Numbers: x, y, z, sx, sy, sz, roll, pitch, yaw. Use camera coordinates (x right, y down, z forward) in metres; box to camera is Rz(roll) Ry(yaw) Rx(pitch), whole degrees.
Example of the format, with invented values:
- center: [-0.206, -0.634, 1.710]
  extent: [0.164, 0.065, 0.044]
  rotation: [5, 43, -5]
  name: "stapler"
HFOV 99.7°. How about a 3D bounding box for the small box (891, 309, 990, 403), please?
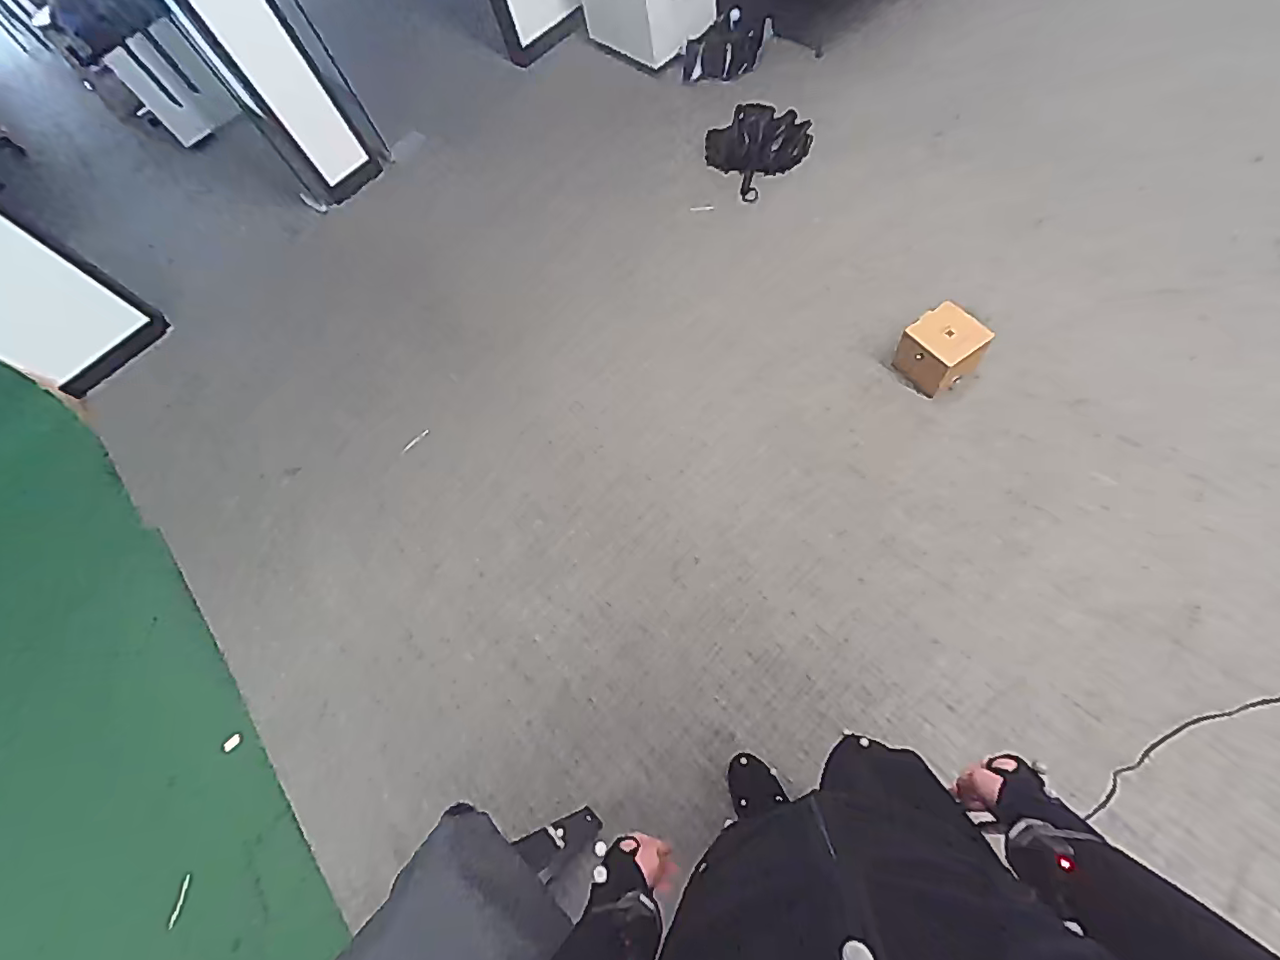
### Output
- center: [0.887, -0.366, 1.619]
  extent: [0.168, 0.176, 0.179]
  rotation: [-34, 65, -5]
  name: "small box"
